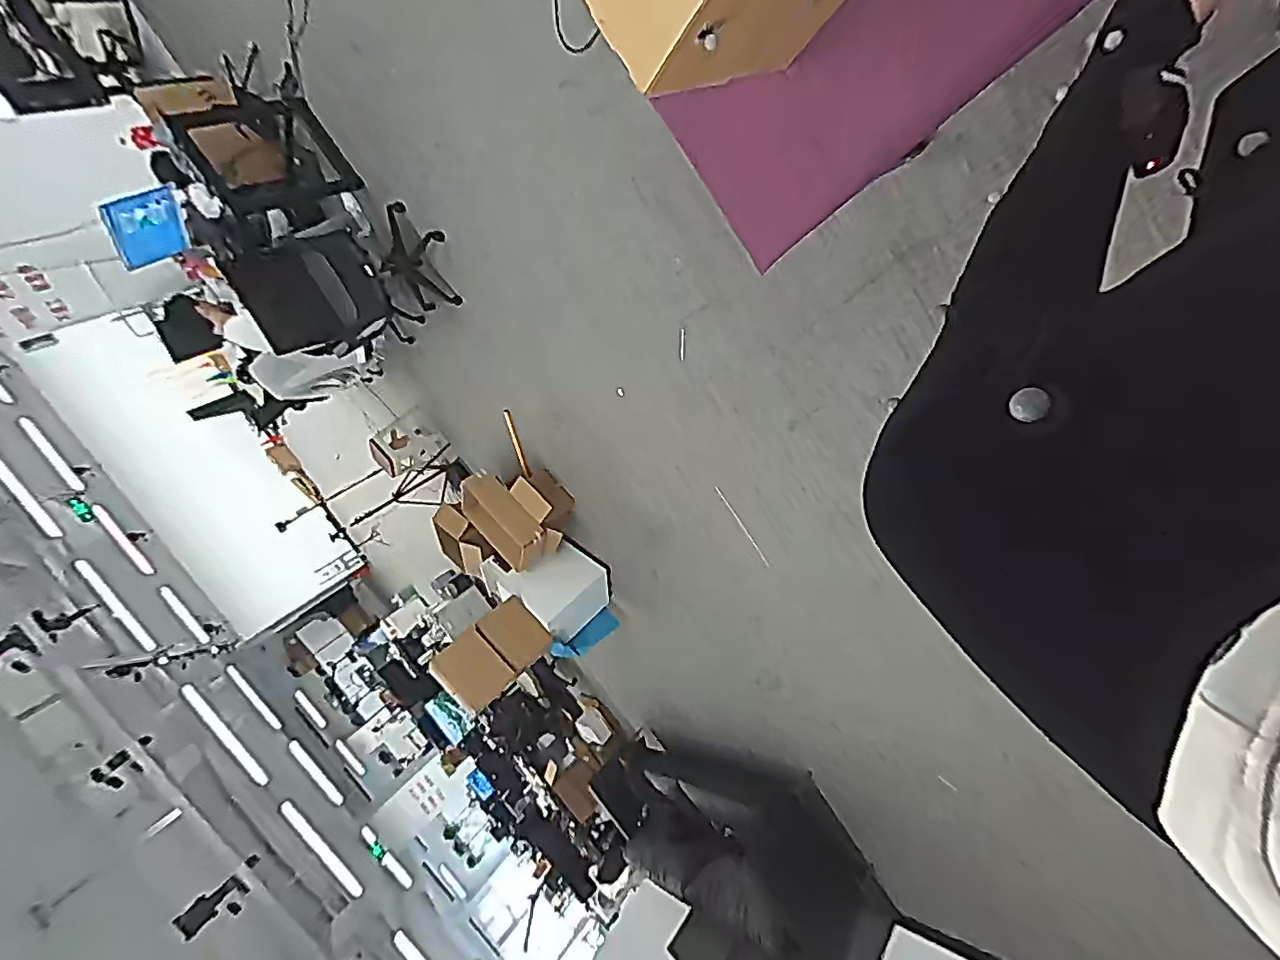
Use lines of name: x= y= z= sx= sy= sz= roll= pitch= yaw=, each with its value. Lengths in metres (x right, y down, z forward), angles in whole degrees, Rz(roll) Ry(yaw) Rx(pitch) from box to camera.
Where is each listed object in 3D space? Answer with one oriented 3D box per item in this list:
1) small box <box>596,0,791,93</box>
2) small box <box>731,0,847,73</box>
small box: x=0.067 y=-0.570 z=0.581 sx=0.168 sy=0.176 sz=0.179 roll=55 pitch=148 yaw=-7
small box: x=0.172 y=-0.658 z=0.669 sx=0.168 sy=0.176 sz=0.179 roll=56 pitch=147 yaw=-7
